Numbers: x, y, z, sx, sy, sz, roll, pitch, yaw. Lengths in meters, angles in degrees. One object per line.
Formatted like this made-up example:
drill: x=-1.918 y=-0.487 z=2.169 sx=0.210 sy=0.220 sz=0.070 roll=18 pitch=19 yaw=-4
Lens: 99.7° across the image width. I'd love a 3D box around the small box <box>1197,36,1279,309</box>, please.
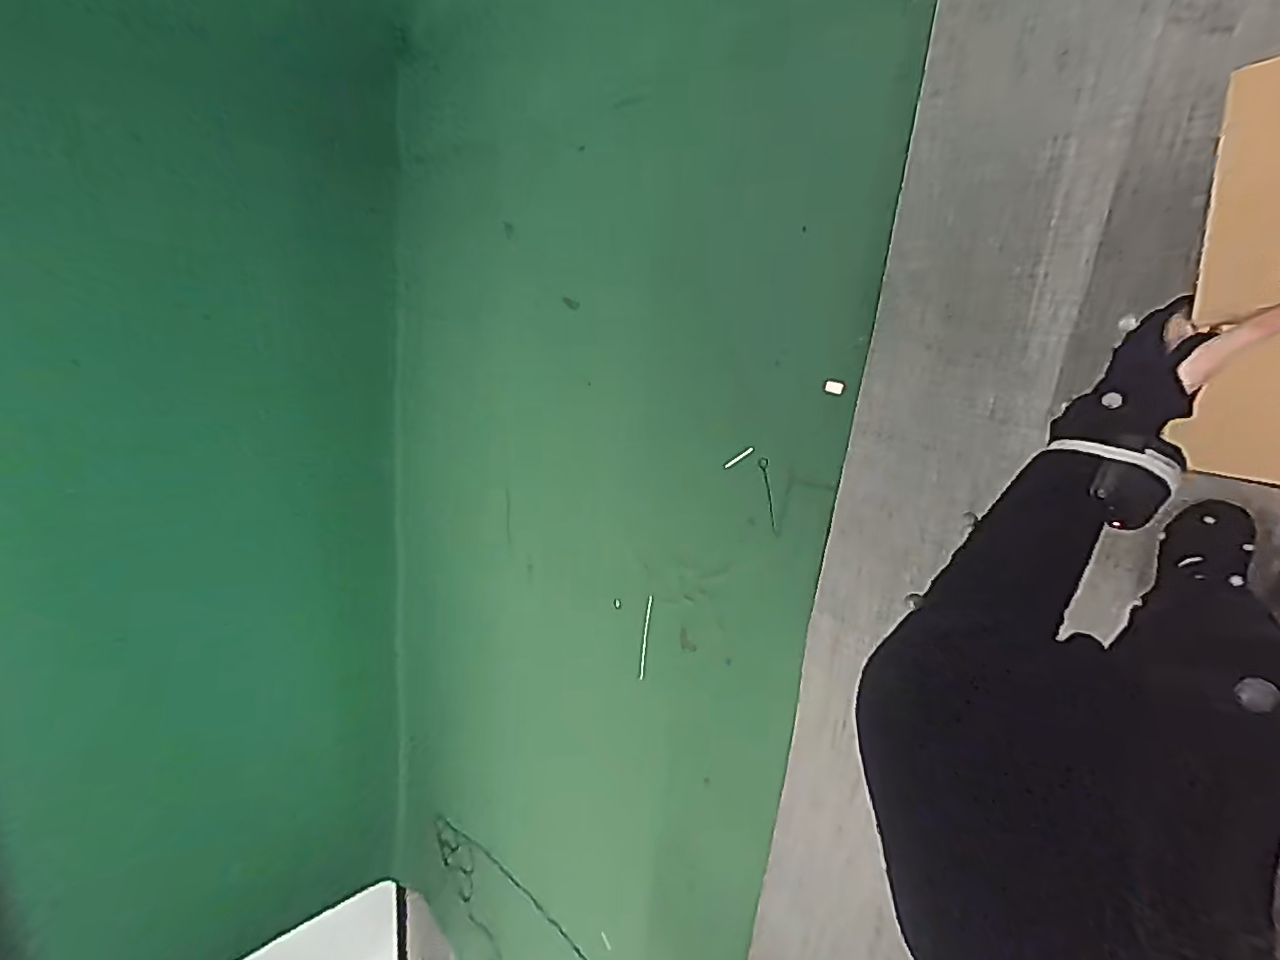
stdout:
small box: x=0.531 y=-0.218 z=0.380 sx=0.168 sy=0.176 sz=0.179 roll=12 pitch=112 yaw=50
